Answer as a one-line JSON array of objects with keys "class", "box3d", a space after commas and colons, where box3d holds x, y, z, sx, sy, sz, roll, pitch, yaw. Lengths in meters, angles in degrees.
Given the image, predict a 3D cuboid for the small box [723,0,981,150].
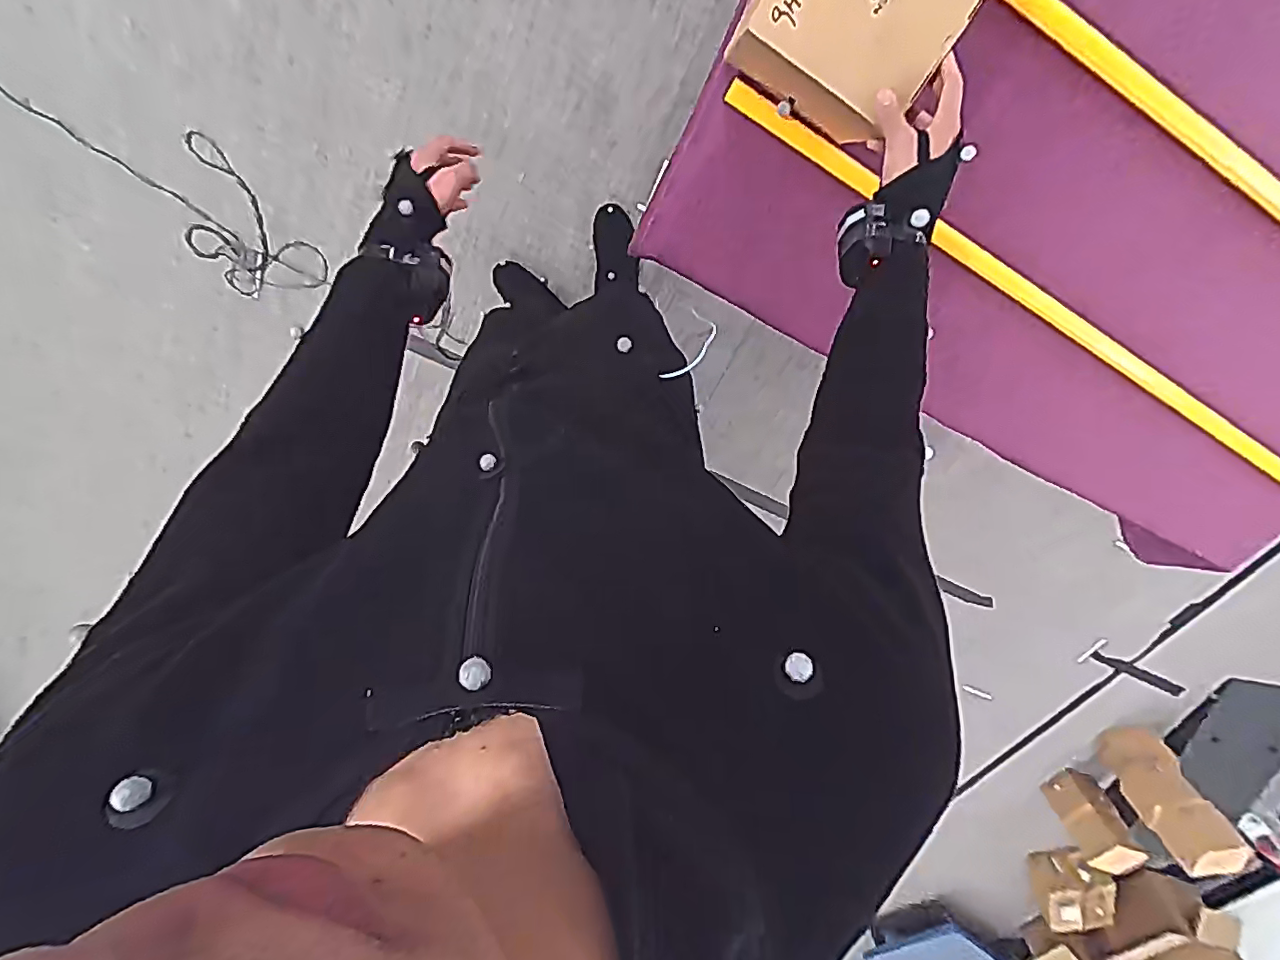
[{"class": "small box", "box3d": [0.207, -0.475, 0.560, 0.179, 0.176, 0.168, 26, 118, -15]}]
